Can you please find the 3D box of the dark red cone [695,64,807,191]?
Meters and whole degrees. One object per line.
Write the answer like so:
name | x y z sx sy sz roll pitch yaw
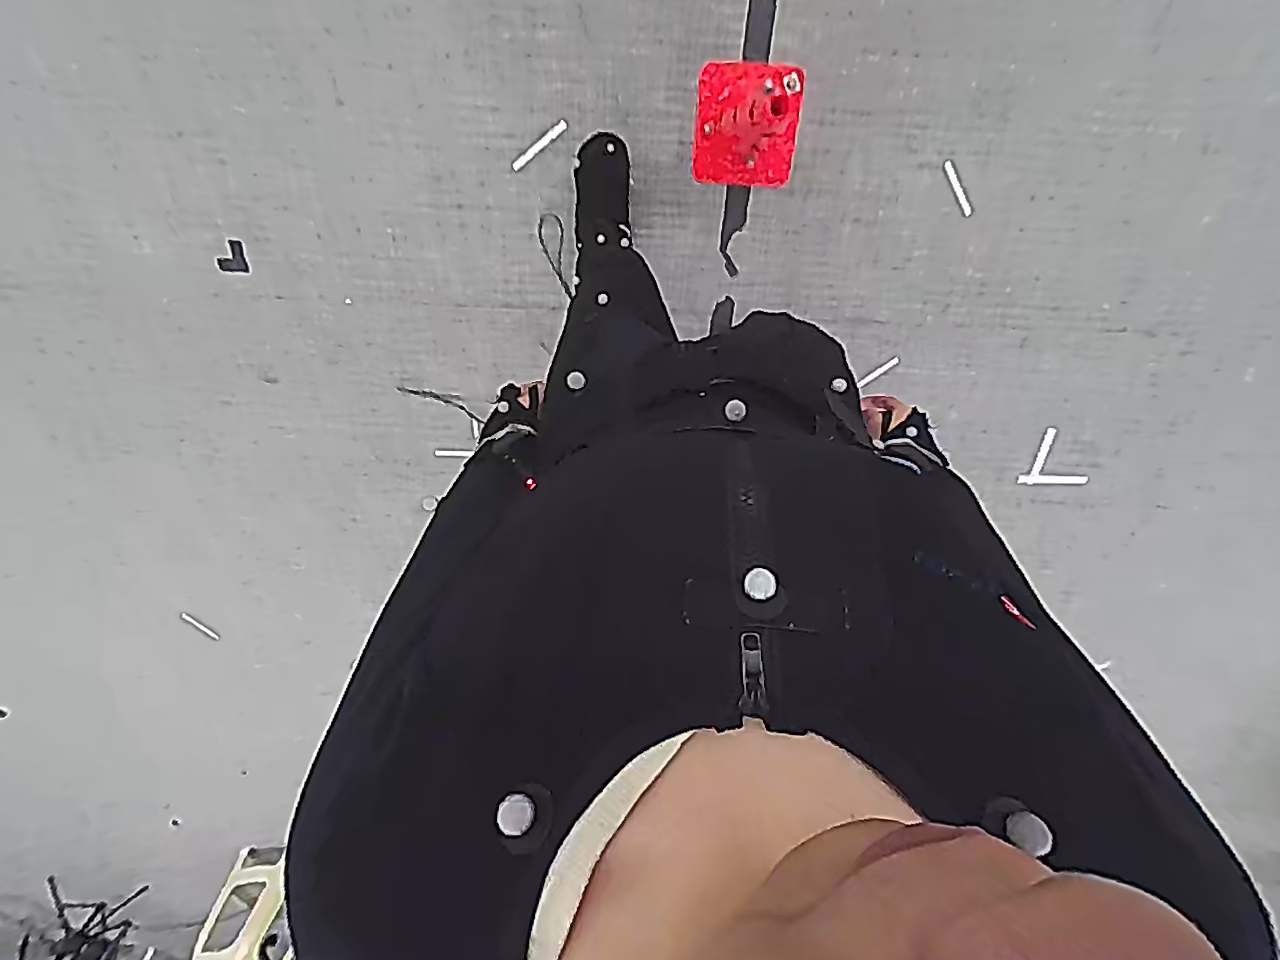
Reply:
dark red cone | 0.200 -0.592 0.897 0.201 0.394 0.202 3 119 2
